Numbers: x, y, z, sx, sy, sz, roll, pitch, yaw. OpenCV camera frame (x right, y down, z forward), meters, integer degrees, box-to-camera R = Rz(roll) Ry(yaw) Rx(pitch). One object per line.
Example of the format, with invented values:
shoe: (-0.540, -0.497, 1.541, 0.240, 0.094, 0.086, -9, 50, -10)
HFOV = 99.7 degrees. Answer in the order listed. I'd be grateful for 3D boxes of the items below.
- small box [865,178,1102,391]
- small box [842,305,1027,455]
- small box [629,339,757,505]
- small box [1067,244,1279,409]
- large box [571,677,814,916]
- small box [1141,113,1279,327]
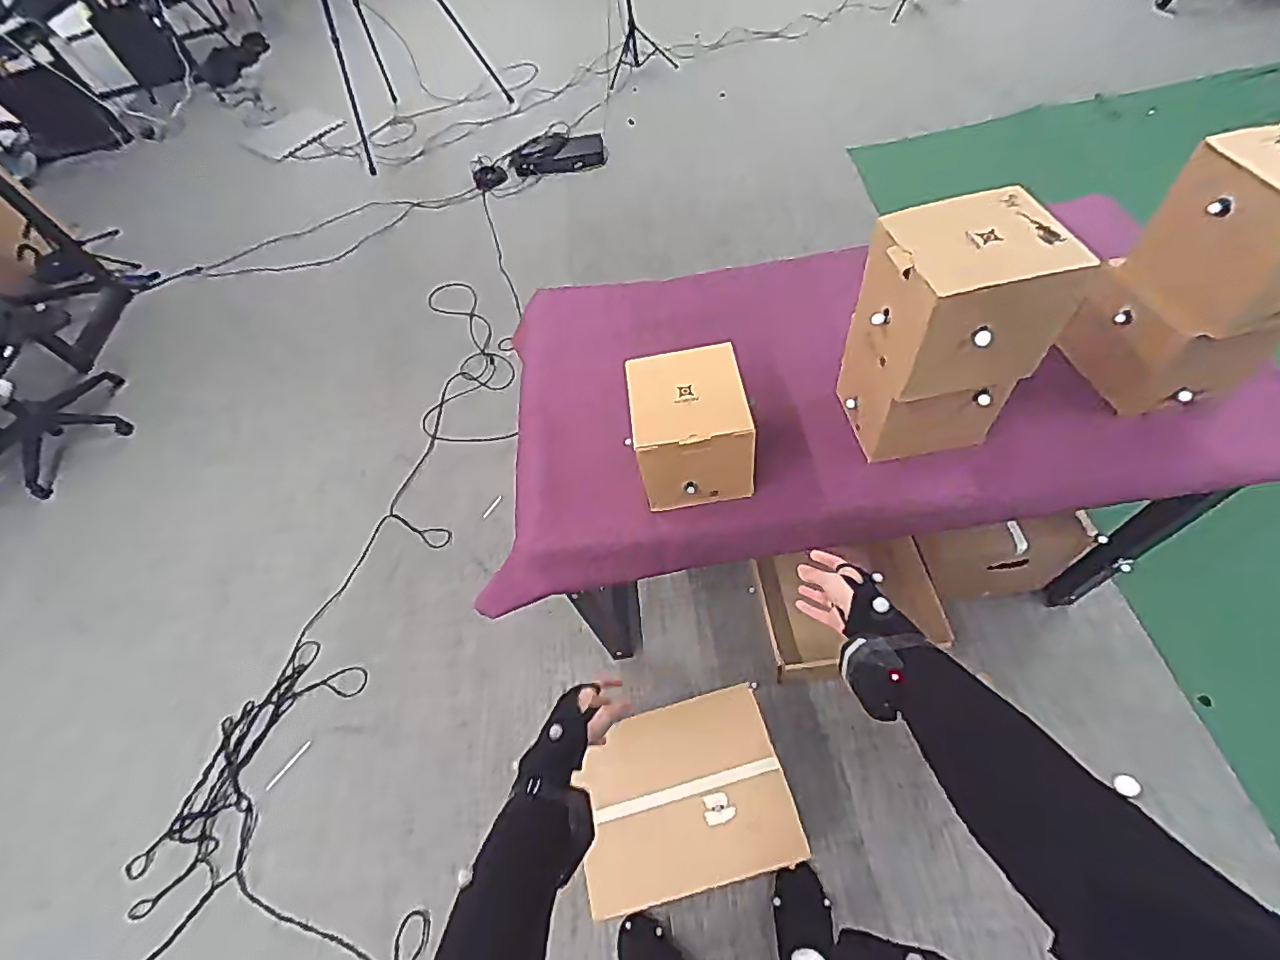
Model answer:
small box: (0.394, -0.232, 0.667, 0.179, 0.176, 0.168, -12, 55, 4)
small box: (0.423, -0.159, 0.812, 0.179, 0.176, 0.168, -11, 55, 4)
small box: (0.080, -0.085, 0.833, 0.168, 0.176, 0.179, -10, 56, 5)
small box: (0.782, -0.232, 0.788, 0.168, 0.176, 0.179, -13, 55, 4)
large box: (0.103, 0.664, 1.146, 0.408, 0.320, 0.320, -16, 56, -1)
small box: (0.771, -0.314, 0.645, 0.168, 0.176, 0.179, -13, 55, 5)
